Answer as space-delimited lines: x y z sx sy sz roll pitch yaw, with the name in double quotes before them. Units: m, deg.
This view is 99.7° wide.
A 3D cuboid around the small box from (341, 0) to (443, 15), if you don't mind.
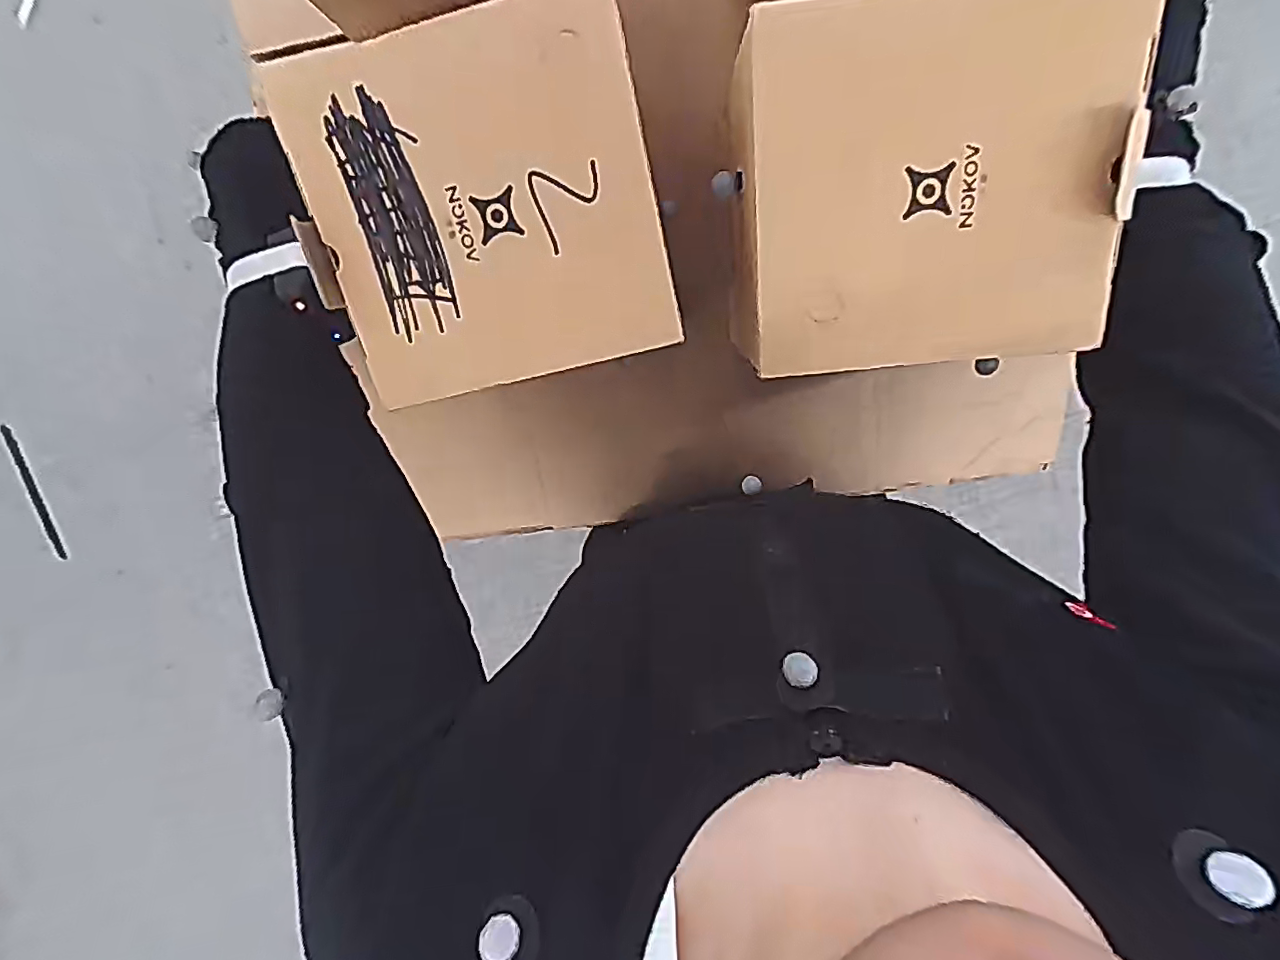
"small box" -0.147 -0.396 0.287 0.168 0.176 0.179 -8 103 7
